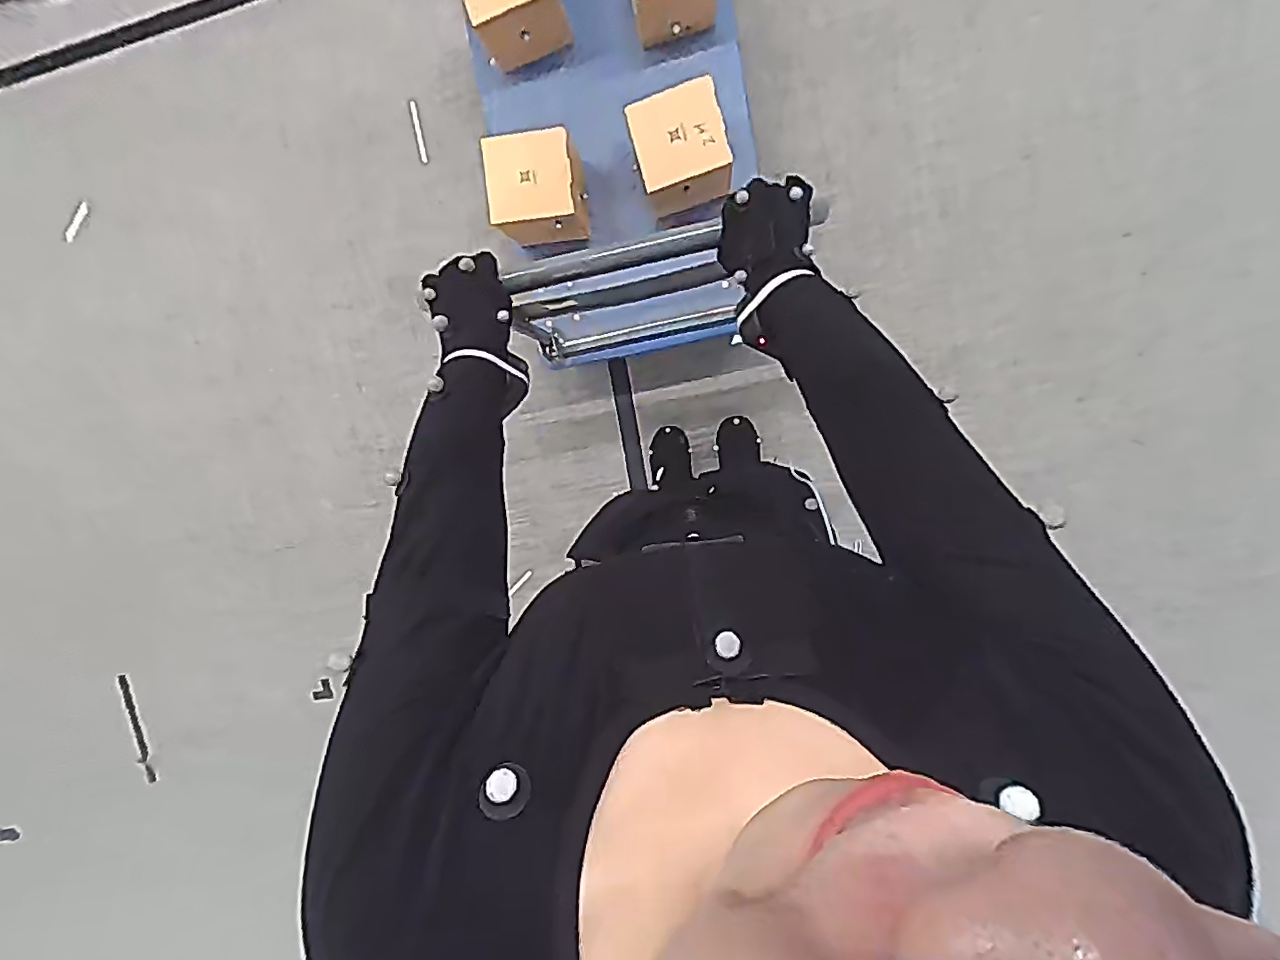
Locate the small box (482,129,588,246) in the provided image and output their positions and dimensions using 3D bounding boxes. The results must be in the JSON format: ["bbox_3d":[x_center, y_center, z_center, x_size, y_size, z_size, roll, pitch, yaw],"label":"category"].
[{"bbox_3d":[-0.219,-0.619,1.165,0.179,0.176,0.168,-5,98,6],"label":"small box"}]

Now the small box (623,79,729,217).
[{"bbox_3d":[0.080,-0.674,1.123,0.179,0.176,0.168,-15,97,9],"label":"small box"}]

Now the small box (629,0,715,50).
[{"bbox_3d":[0.053,-1.014,1.071,0.168,0.176,0.179,-11,99,8],"label":"small box"}]
